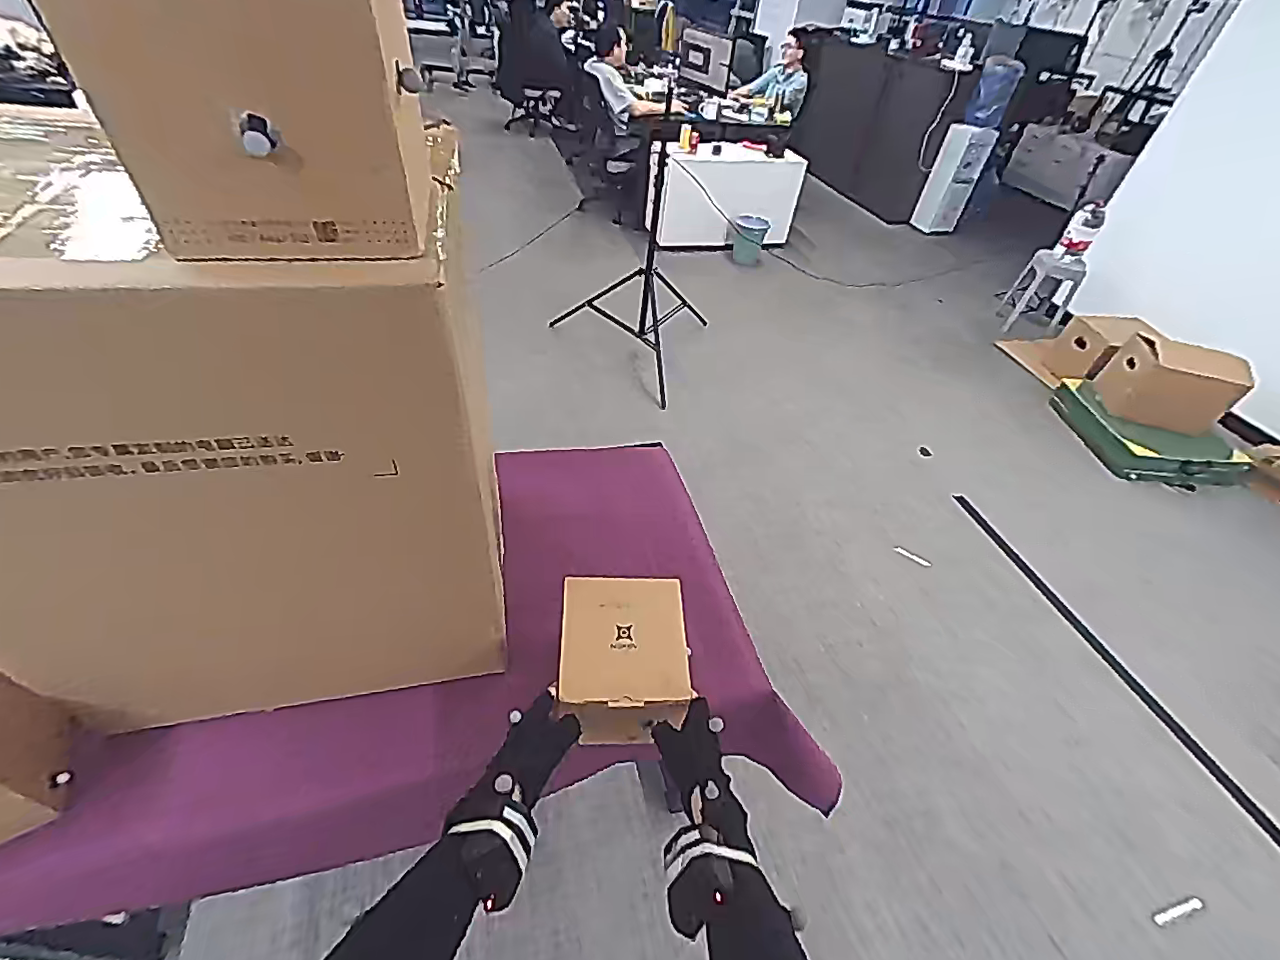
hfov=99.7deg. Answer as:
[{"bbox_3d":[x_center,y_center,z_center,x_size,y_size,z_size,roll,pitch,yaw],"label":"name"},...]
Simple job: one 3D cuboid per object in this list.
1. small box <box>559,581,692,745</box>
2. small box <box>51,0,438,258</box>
[{"bbox_3d":[-0.028,0.262,0.765,0.168,0.176,0.179,3,46,-8],"label":"small box"},{"bbox_3d":[-0.248,-0.276,0.394,0.168,0.176,0.179,-6,47,-13],"label":"small box"}]
